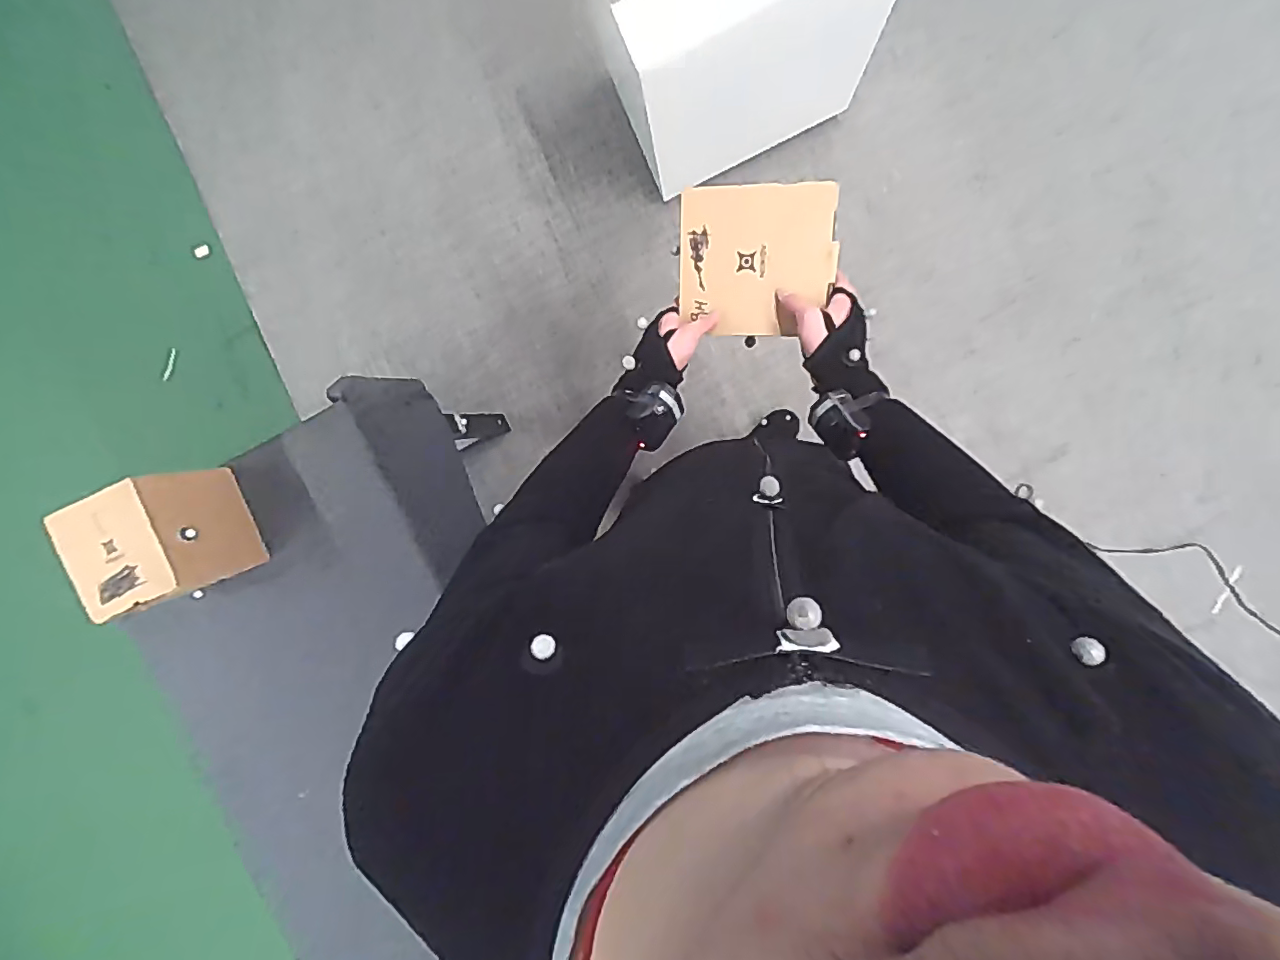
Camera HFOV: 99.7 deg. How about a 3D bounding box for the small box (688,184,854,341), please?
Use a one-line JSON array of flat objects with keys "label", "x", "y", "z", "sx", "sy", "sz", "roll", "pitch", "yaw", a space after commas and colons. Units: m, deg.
[{"label": "small box", "x": 0.153, "y": -0.263, "z": 0.685, "sx": 0.179, "sy": 0.176, "sz": 0.168, "roll": 2, "pitch": 105, "yaw": 8}]
